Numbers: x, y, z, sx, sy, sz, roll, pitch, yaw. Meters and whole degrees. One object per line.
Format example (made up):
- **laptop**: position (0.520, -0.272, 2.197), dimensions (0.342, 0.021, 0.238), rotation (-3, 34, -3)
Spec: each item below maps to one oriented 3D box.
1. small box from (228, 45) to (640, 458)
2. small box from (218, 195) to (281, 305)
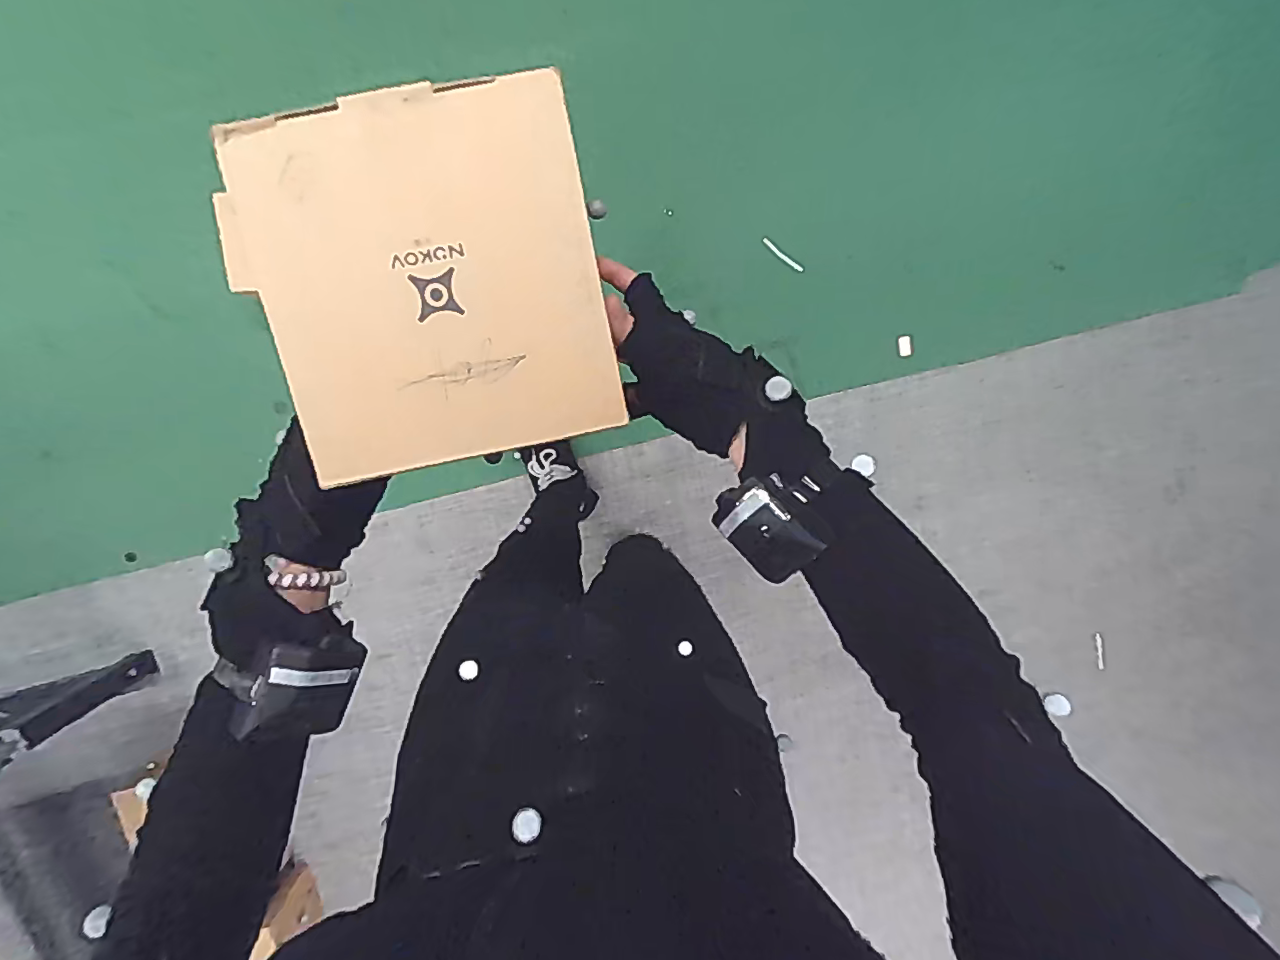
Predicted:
- **small box**: position (-0.101, -0.118, 0.342), dimensions (0.168, 0.176, 0.179), rotation (-11, 99, -3)
- **small box**: position (-0.692, -0.449, 1.081), dimensions (0.168, 0.176, 0.179), rotation (-3, 100, -5)
